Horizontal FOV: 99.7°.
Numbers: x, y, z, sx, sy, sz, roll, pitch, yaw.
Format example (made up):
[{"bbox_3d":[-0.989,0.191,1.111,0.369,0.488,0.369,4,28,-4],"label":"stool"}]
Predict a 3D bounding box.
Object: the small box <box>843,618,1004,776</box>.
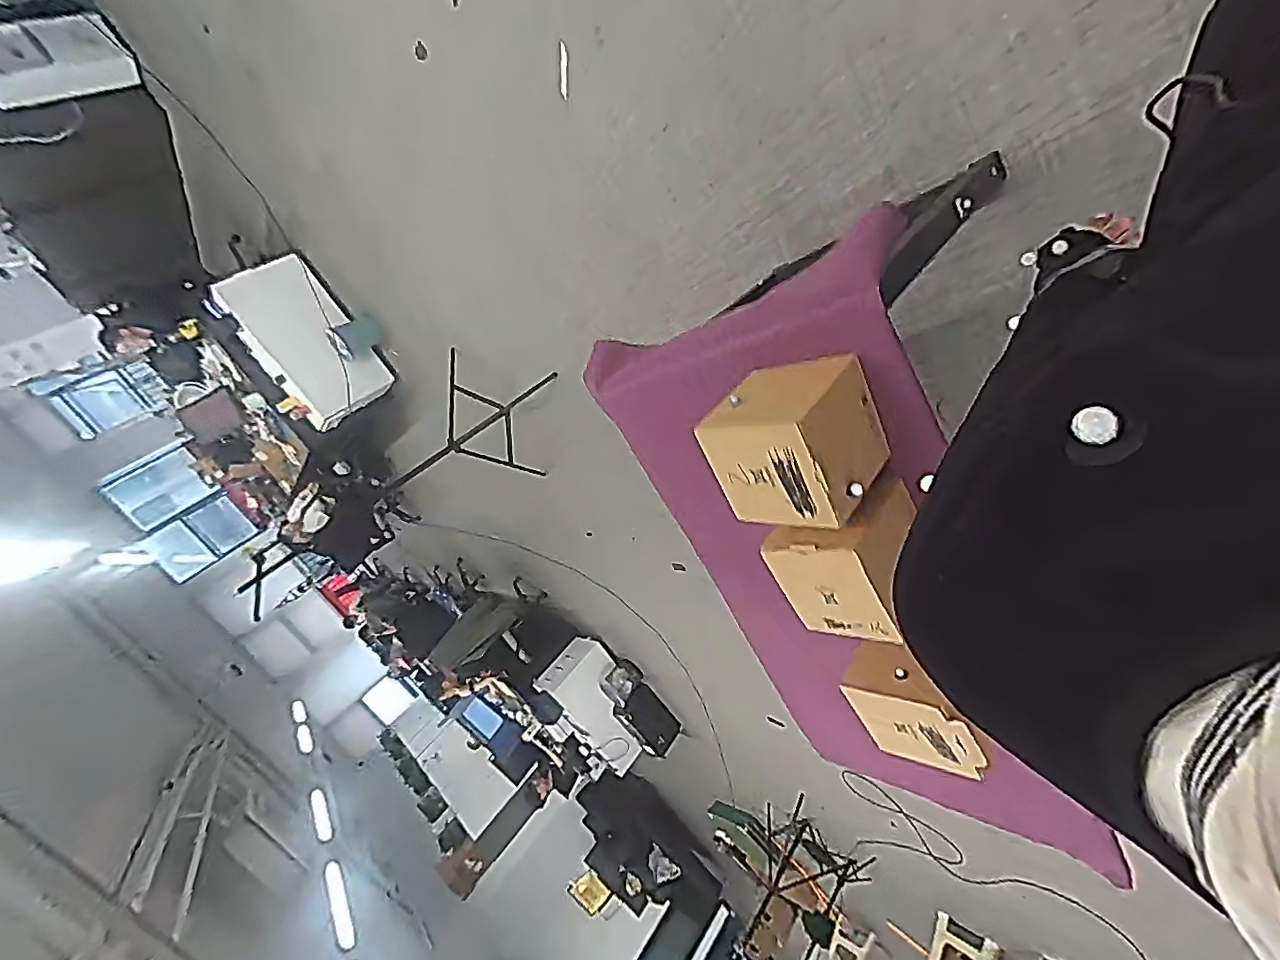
[{"bbox_3d":[0.487,0.353,0.918,0.168,0.176,0.179,55,148,-14],"label":"small box"}]
